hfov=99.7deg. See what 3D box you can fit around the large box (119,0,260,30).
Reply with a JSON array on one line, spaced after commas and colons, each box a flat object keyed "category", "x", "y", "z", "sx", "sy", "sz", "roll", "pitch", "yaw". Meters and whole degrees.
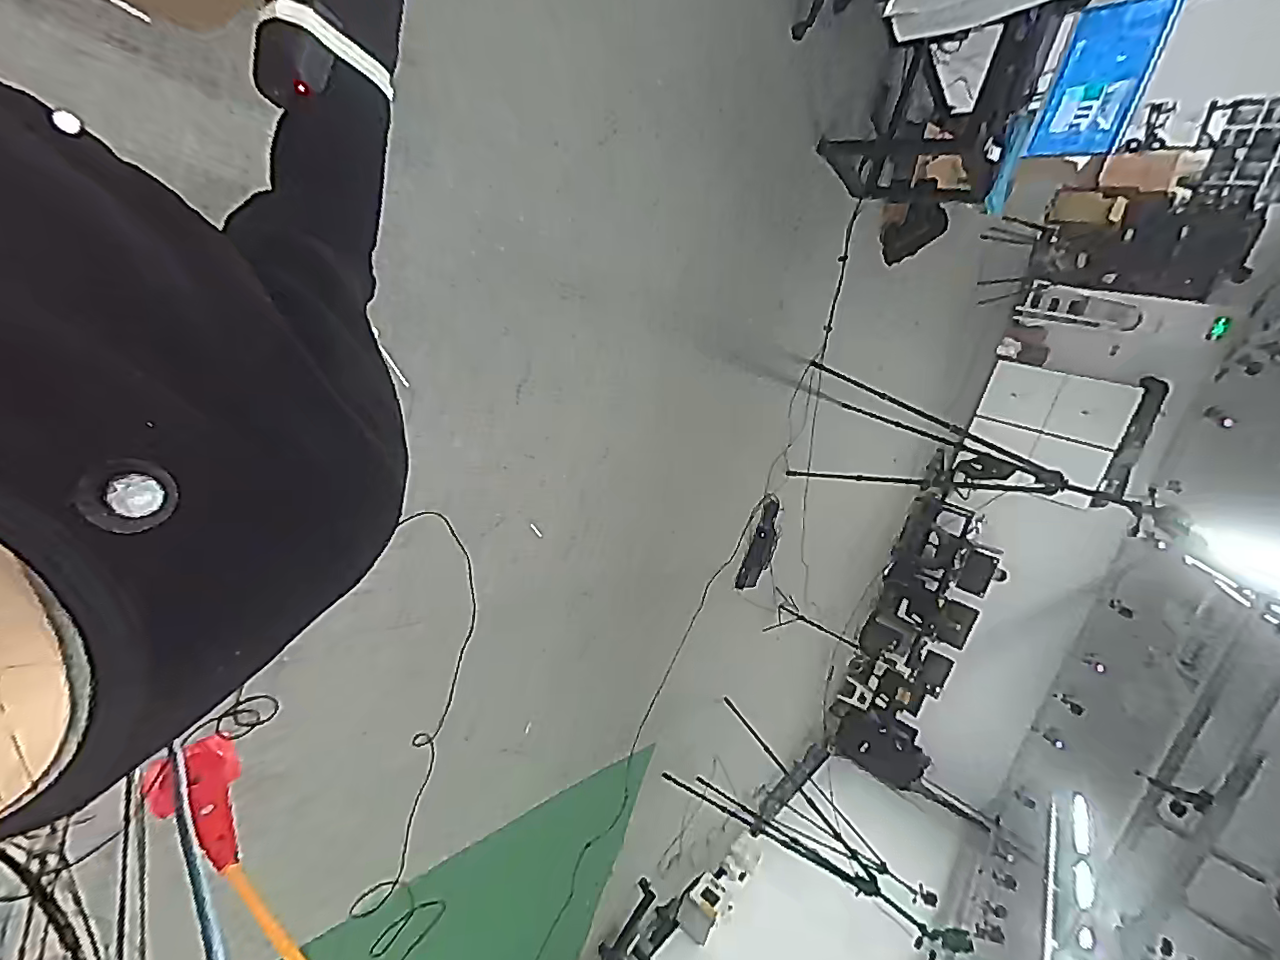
[{"category": "large box", "x": -0.440, "y": -0.545, "z": 0.291, "sx": 0.408, "sy": 0.320, "sz": 0.320, "roll": -8, "pitch": 112, "yaw": -51}]
